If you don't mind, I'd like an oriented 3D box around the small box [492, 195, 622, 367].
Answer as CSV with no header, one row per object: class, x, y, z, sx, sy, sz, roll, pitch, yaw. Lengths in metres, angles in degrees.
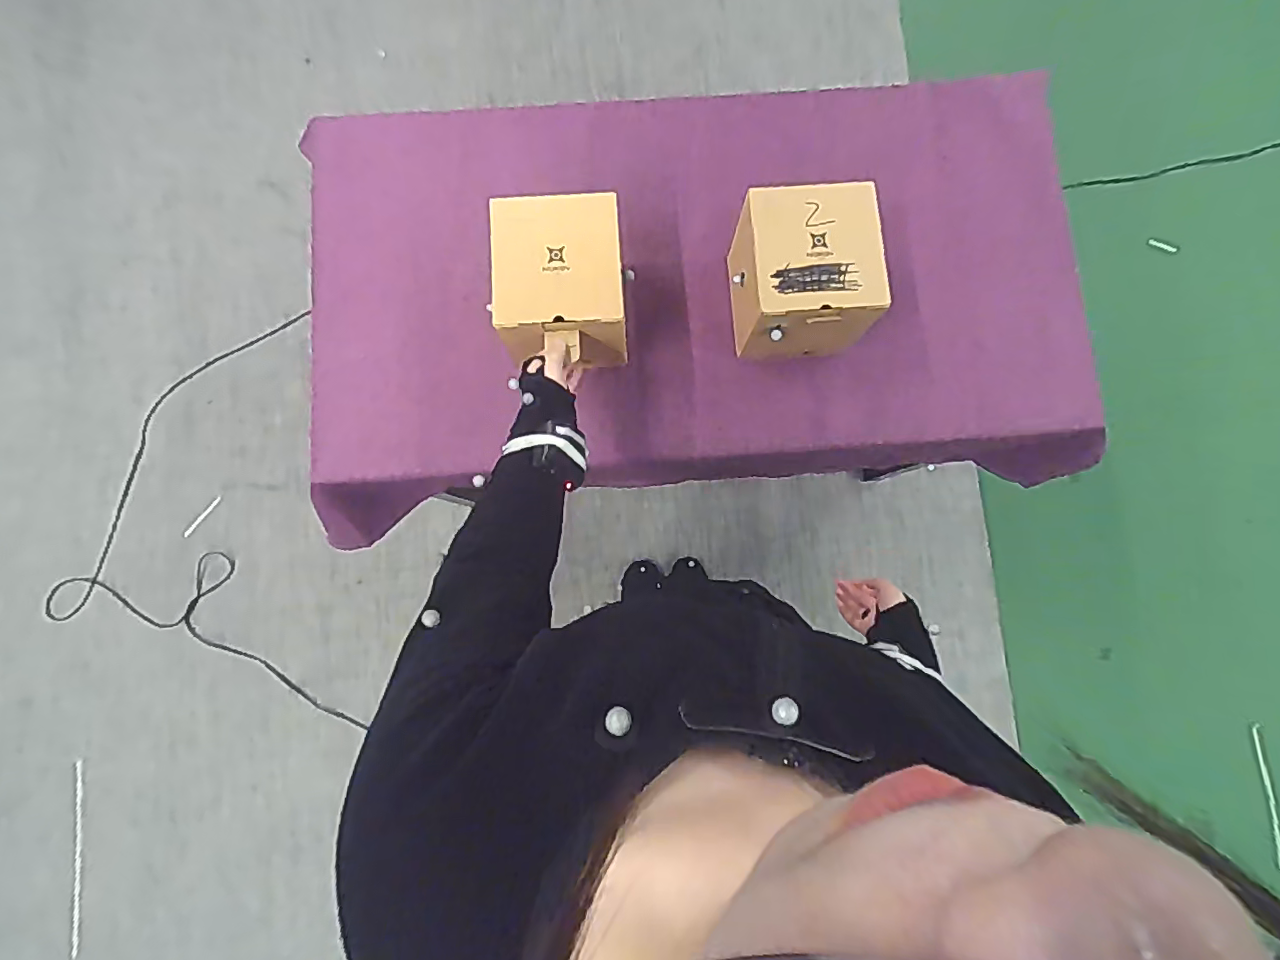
small box,-0.112,-0.277,0.779,0.168,0.176,0.179,-4,83,-1
